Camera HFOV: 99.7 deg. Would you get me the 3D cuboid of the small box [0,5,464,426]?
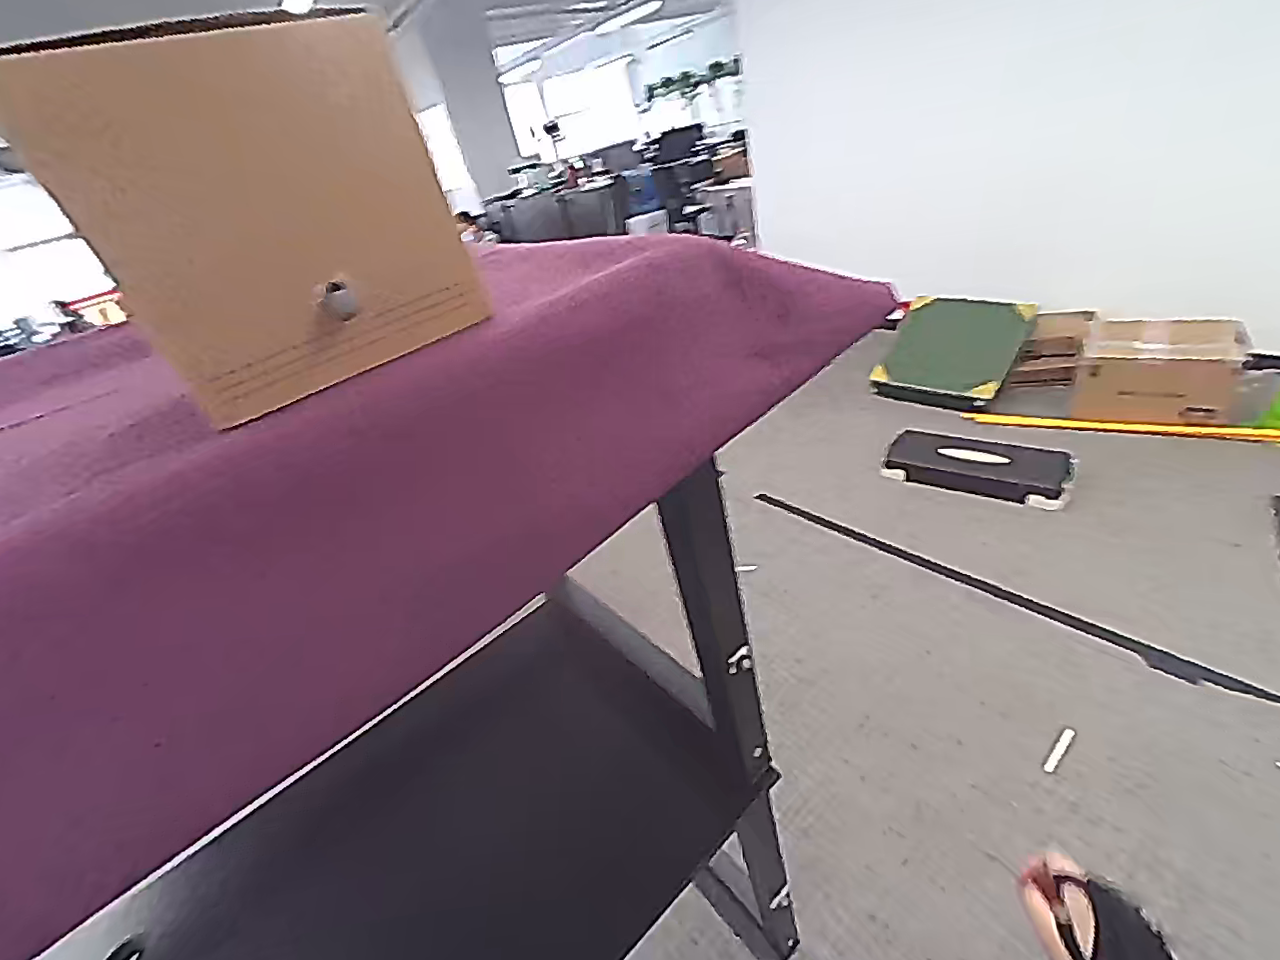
[{"bbox_3d":[-0.233,-0.157,0.337,0.179,0.176,0.168,-35,36,-28],"label":"small box"}]
